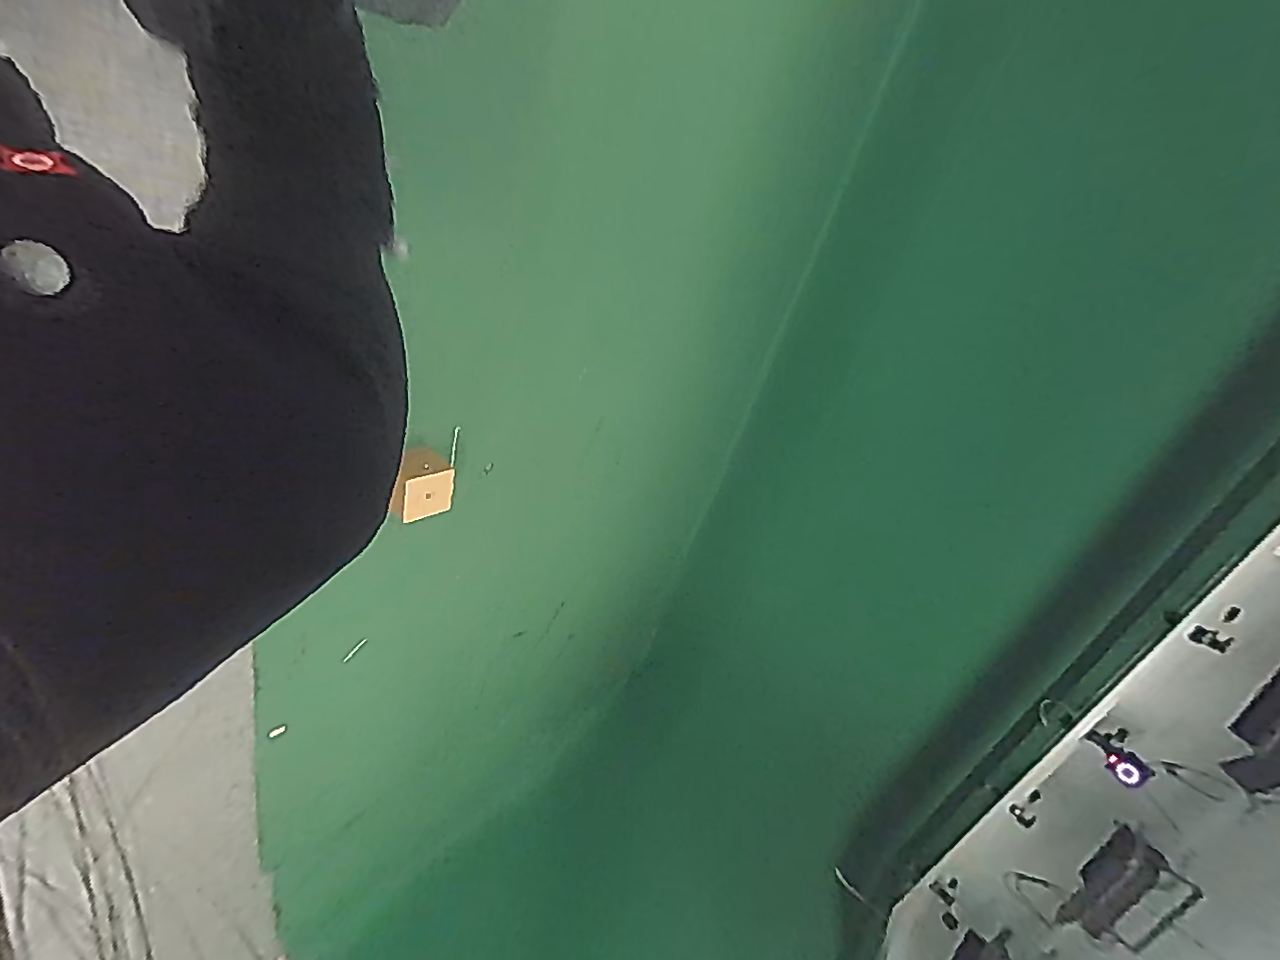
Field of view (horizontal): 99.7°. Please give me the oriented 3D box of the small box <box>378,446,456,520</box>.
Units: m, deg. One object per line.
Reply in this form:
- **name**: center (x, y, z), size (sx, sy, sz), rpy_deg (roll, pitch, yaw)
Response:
- **small box**: center (-0.742, 0.001, 1.796), size (0.179, 0.176, 0.168), rpy_deg (-20, 135, -48)
